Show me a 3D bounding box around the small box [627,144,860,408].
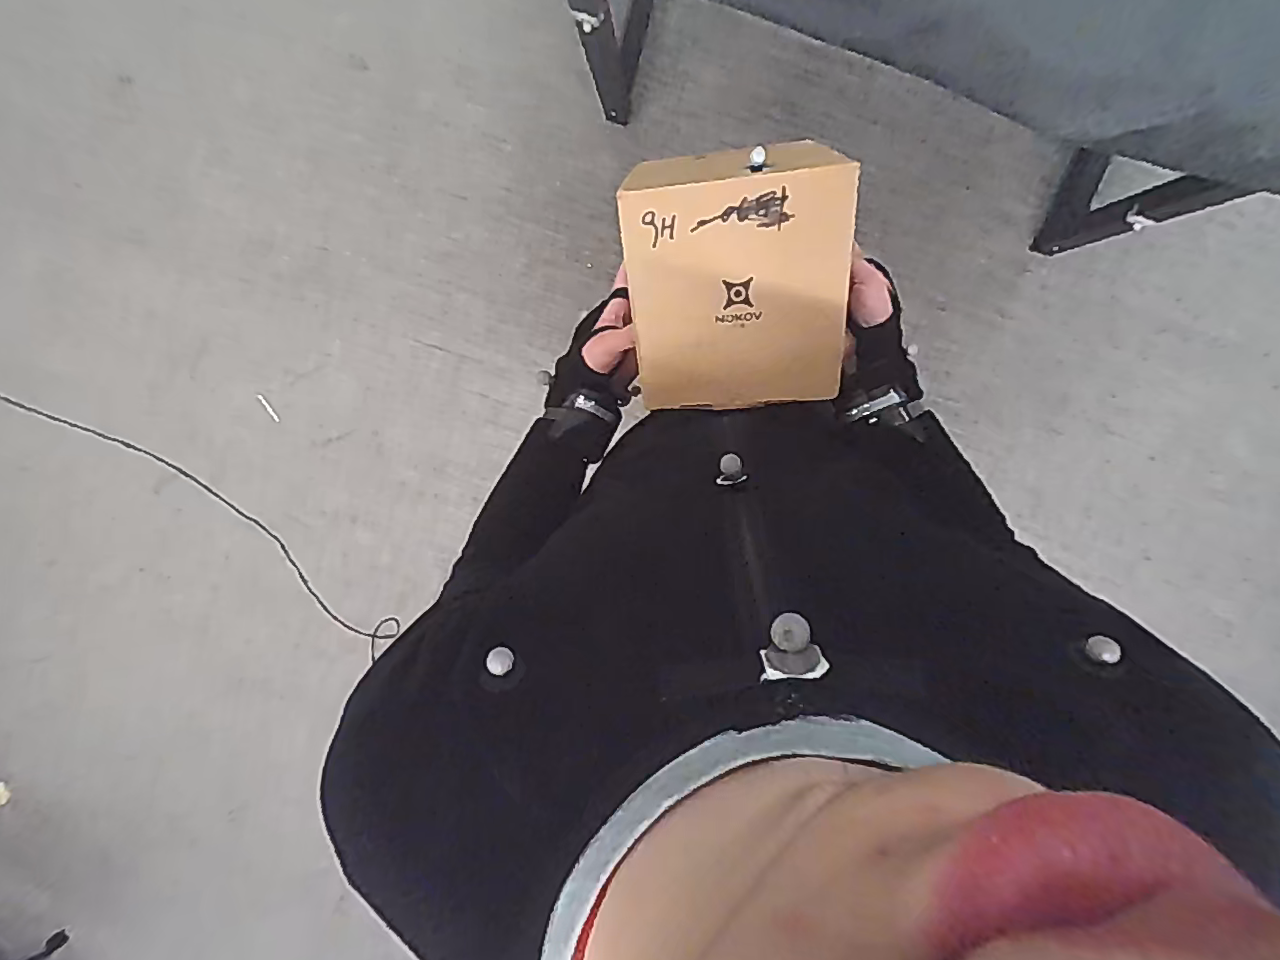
[{"bbox_3d":[0.085,-0.186,0.492,0.168,0.176,0.179,-3,127,7],"label":"small box"}]

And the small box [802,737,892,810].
[{"bbox_3d":[0.630,0.935,1.668,0.179,0.176,0.168,30,101,-2],"label":"small box"}]
